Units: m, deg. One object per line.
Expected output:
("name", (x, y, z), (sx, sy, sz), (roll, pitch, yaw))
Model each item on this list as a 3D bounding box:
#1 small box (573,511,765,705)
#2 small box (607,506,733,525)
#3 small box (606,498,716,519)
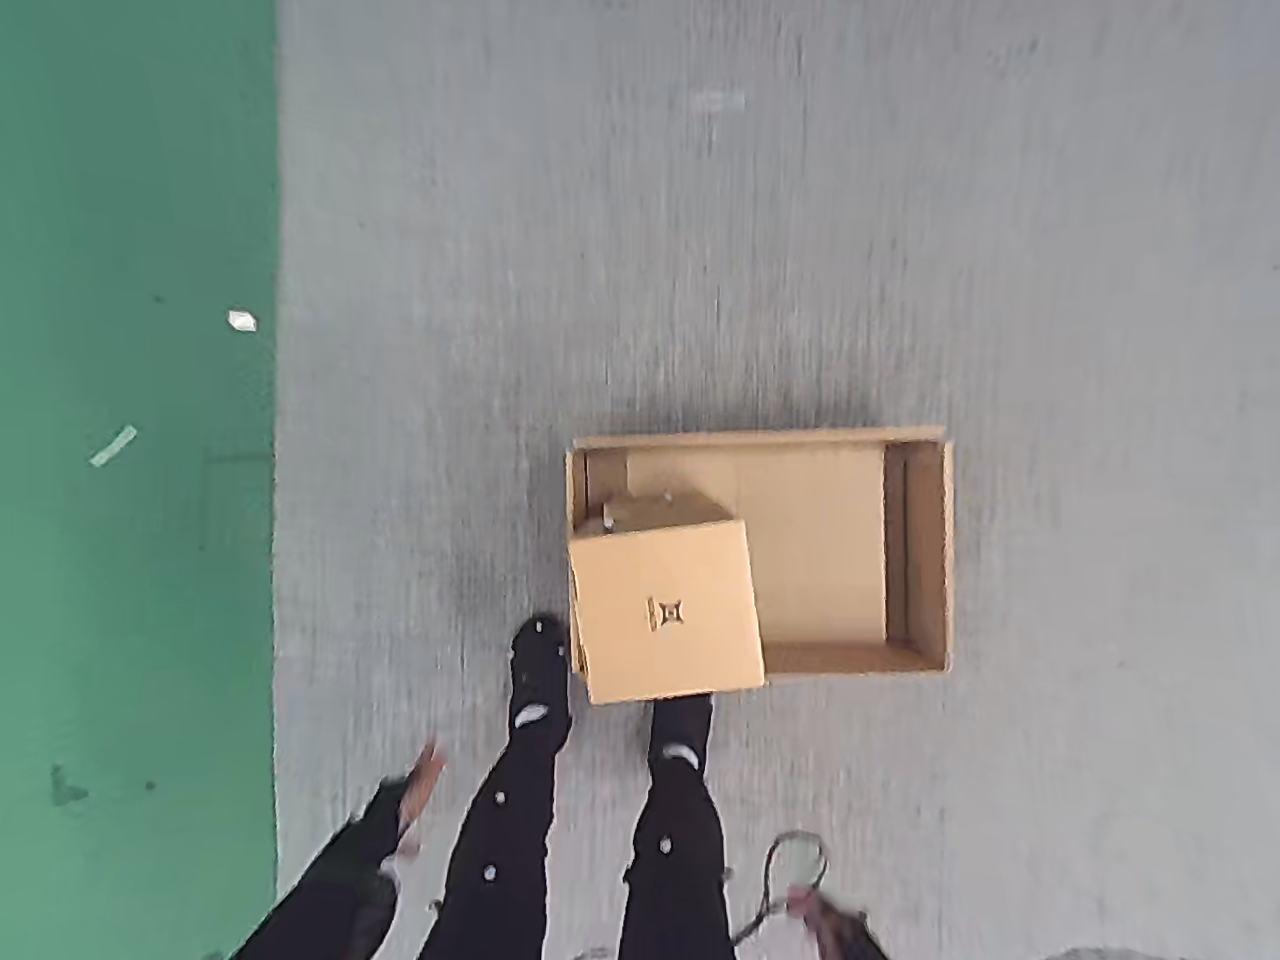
("small box", (0.031, 0.131, 0.613), (0.179, 0.176, 0.168), (-7, 91, 3))
("small box", (0.043, 0.131, 0.775), (0.168, 0.176, 0.179), (0, 91, 2))
("small box", (0.042, 0.121, 0.938), (0.179, 0.176, 0.168), (-4, 91, 2))
